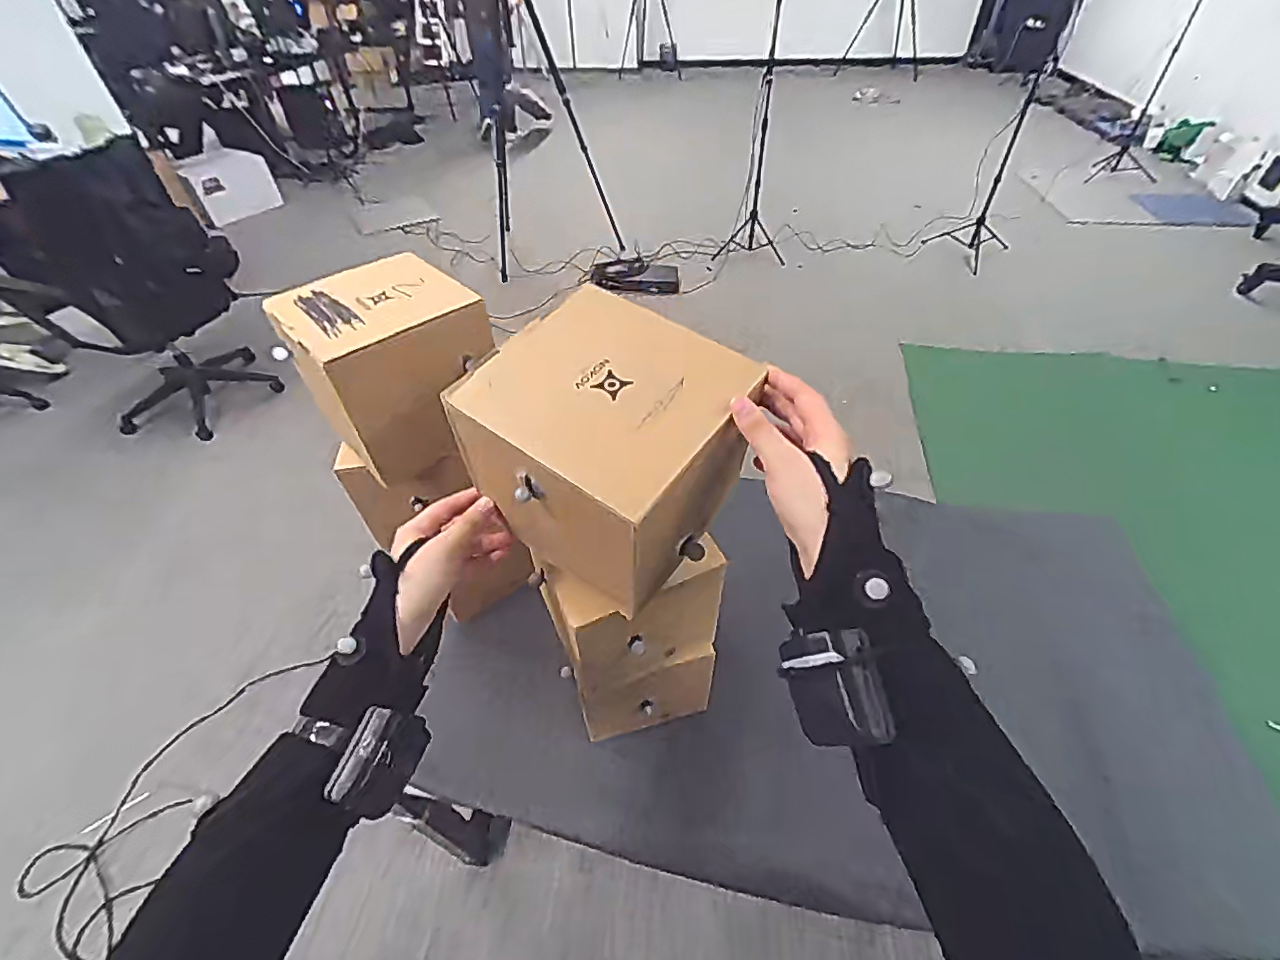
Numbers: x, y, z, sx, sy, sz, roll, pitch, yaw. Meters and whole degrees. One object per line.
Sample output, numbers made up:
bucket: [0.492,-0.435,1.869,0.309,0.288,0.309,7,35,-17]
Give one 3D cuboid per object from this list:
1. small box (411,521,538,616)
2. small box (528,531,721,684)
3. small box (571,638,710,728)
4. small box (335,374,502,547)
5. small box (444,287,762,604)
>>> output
small box: [-0.278,0.085,0.877,0.168,0.176,0.179,-32,53,-25]
small box: [-0.023,0.107,0.618,0.168,0.176,0.179,-20,48,-16]
small box: [-0.011,0.216,0.738,0.168,0.176,0.179,-12,46,-10]
small box: [-0.284,-0.026,0.755,0.179,0.176,0.168,-8,47,-4]
small box: [-0.027,-0.024,0.458,0.179,0.176,0.168,32,60,19]
